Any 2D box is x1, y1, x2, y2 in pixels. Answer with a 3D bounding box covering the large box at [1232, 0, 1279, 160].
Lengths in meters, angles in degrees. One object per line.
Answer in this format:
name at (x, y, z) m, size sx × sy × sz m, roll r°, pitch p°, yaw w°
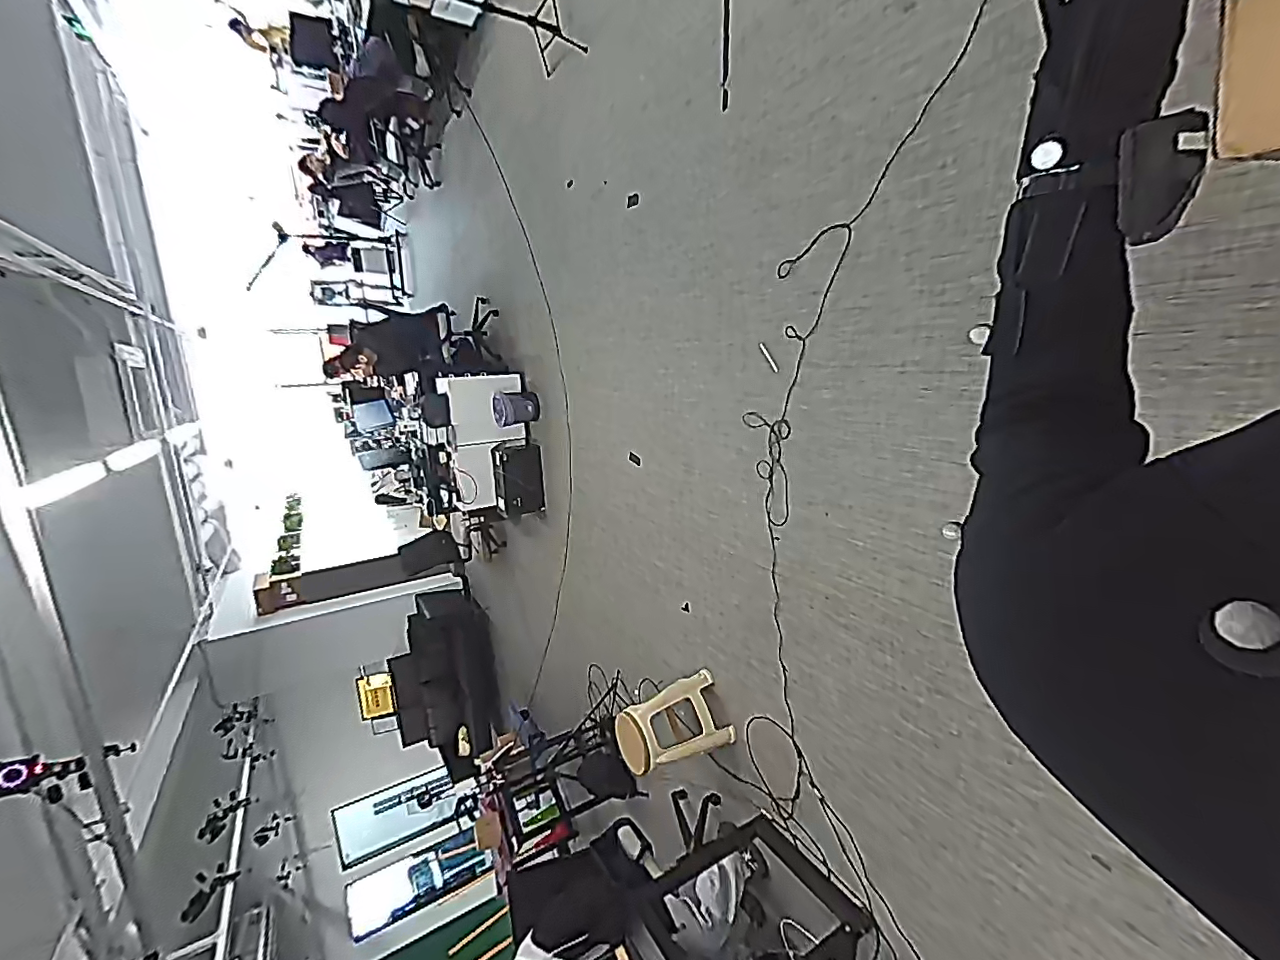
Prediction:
large box at (0.529, -0.350, 0.181) m, size 0.408 × 0.320 × 0.320 m, roll 10°, pitch 117°, yaw 56°
